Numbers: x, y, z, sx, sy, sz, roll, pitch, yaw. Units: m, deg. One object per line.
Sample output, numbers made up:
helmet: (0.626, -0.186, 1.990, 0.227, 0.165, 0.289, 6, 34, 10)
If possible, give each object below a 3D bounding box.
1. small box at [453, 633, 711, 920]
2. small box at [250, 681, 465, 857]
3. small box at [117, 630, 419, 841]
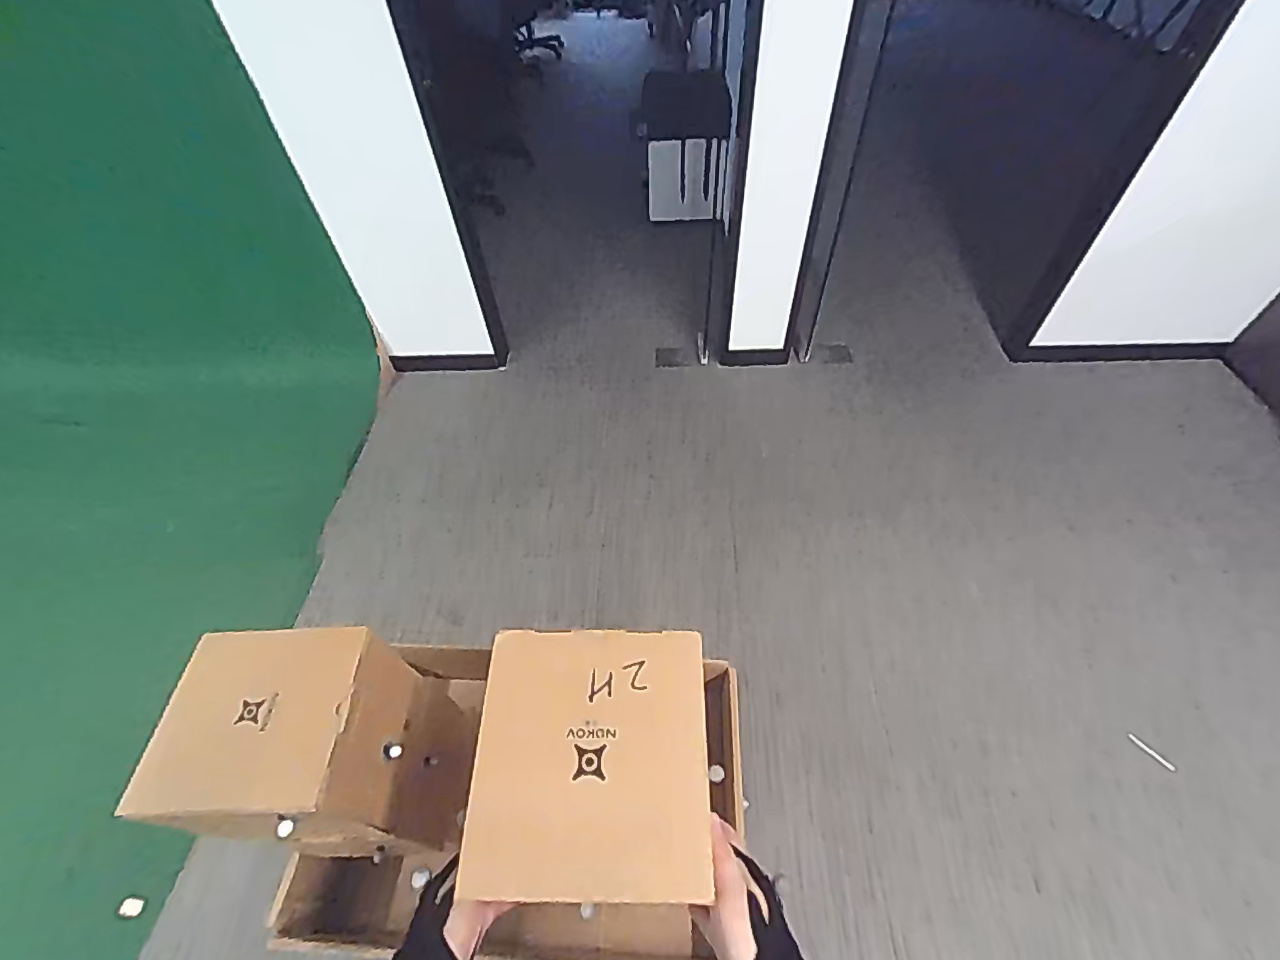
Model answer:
small box: (-0.033, 0.238, 0.444, 0.168, 0.176, 0.179, 0, 55, 1)
small box: (-0.339, 0.375, 0.695, 0.168, 0.176, 0.179, -1, 51, 1)
small box: (-0.360, 0.272, 0.570, 0.179, 0.176, 0.168, -2, 51, -1)
